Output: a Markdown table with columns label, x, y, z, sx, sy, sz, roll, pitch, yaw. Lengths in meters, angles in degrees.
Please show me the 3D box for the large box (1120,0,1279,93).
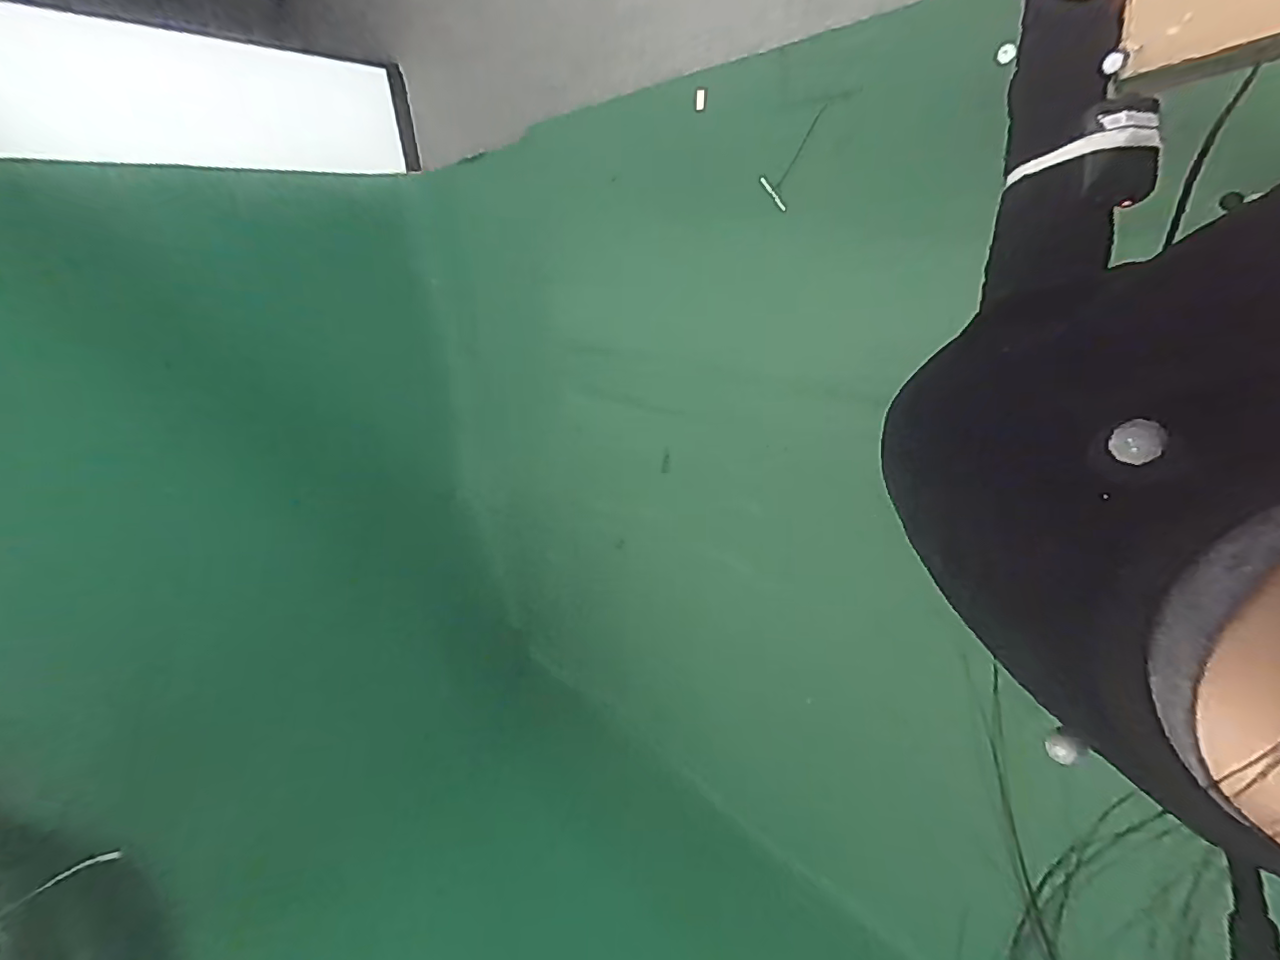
| label | x | y | z | sx | sy | sz | roll | pitch | yaw |
| --- | --- | --- | --- | --- | --- | --- | --- | --- | --- |
| large box | 0.563 | -0.479 | 0.312 | 0.408 | 0.320 | 0.320 | 7 | 119 | 40 |
